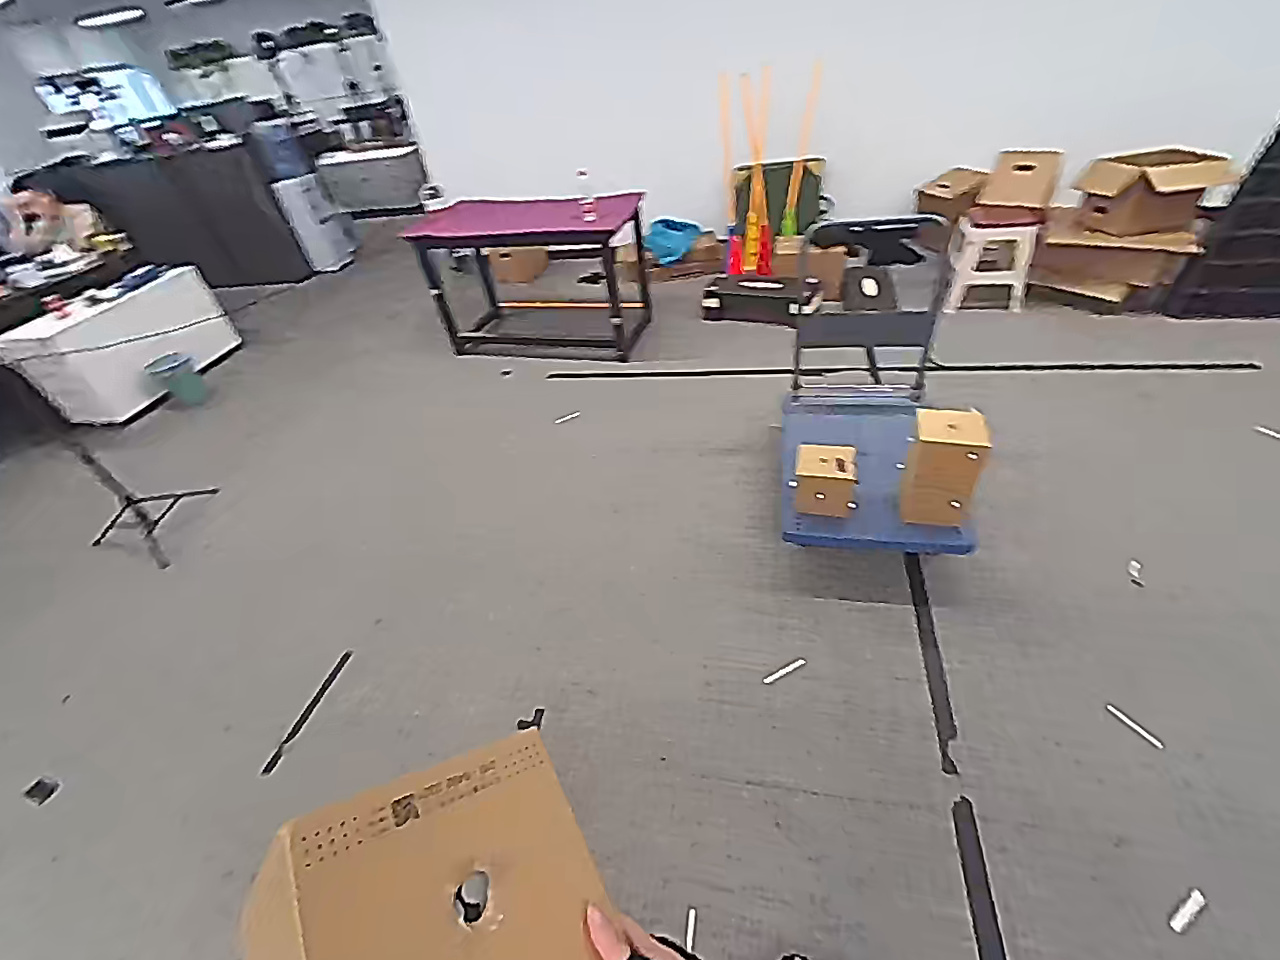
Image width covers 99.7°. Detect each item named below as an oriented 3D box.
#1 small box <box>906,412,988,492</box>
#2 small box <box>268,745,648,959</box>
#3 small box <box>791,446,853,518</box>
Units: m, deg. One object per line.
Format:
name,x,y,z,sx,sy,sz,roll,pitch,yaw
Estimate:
small box,0.895,-0.082,1.594,0.179,0.176,0.168,7,43,17
small box,-0.130,0.303,0.356,0.168,0.179,0.176,1,45,-43
small box,0.603,0.009,1.791,0.179,0.176,0.168,5,42,17
